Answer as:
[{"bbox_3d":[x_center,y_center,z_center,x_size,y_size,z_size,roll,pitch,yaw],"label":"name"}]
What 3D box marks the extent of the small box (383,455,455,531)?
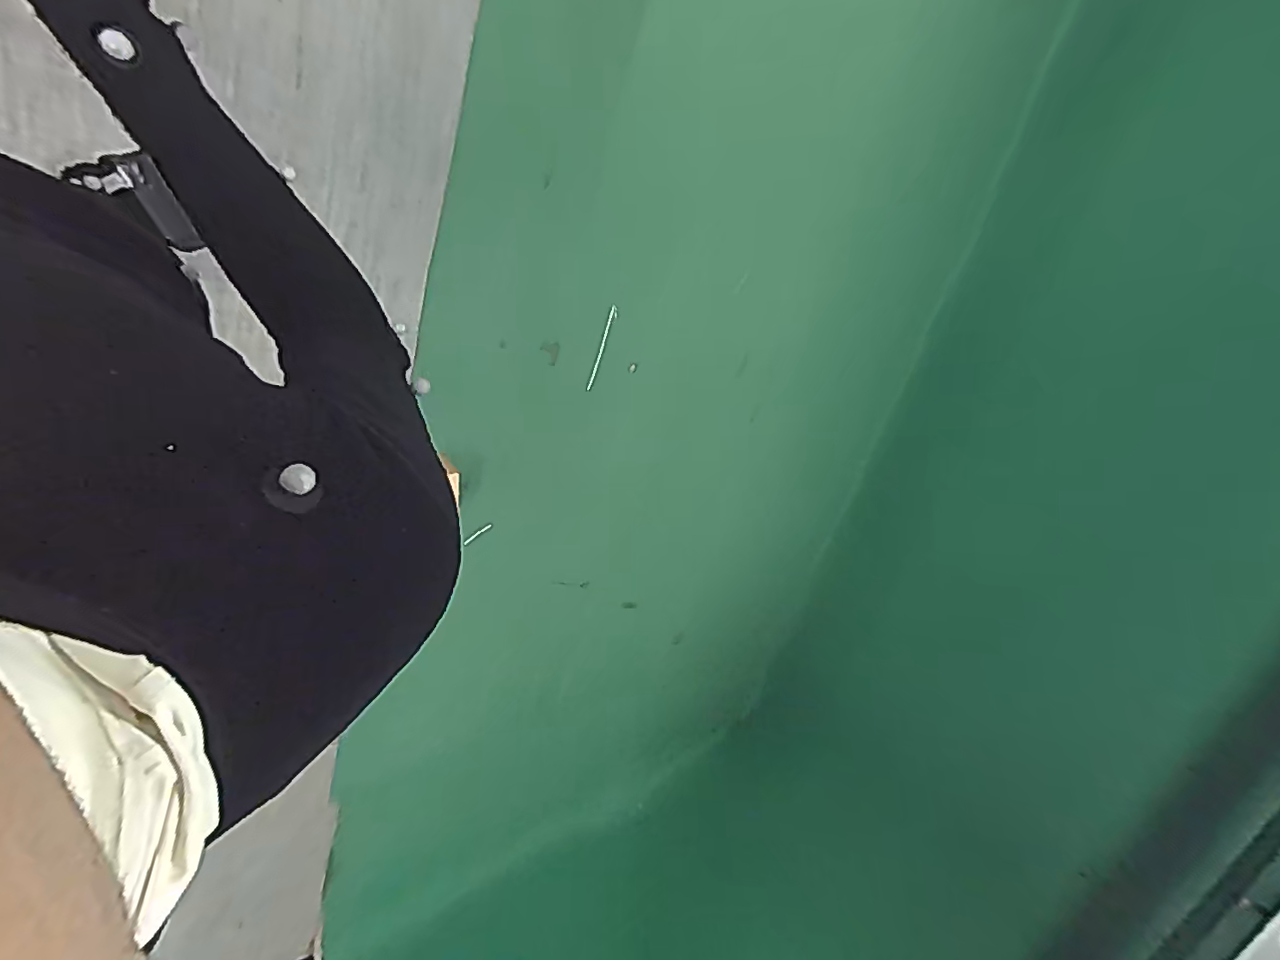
[{"bbox_3d":[-0.689,0.031,1.680,0.168,0.176,0.179,-11,121,-39],"label":"small box"}]
